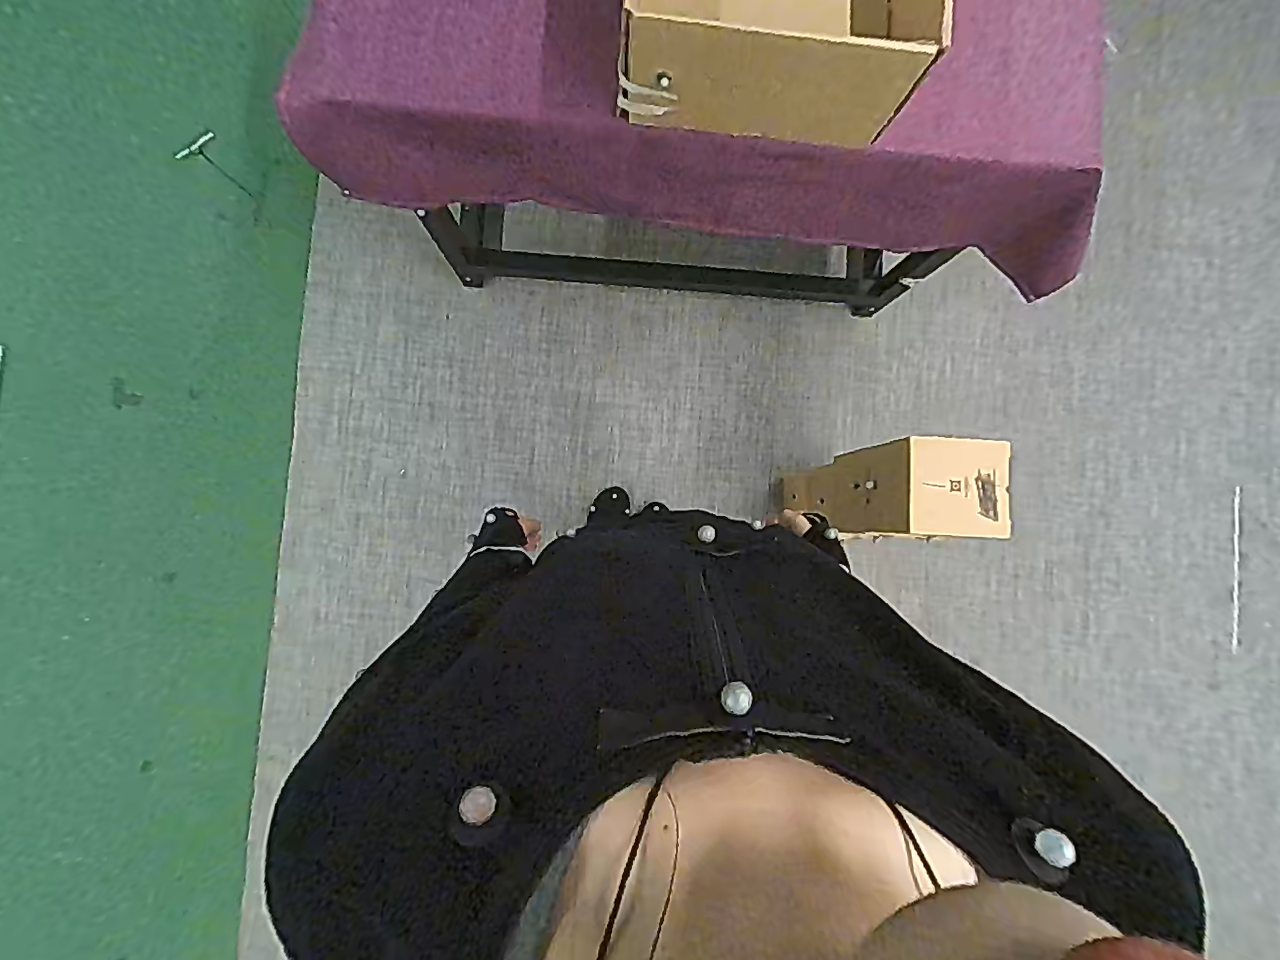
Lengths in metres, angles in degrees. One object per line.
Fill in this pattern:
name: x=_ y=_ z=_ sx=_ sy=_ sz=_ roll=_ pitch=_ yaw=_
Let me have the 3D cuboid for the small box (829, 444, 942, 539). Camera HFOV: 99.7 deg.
small box: x=0.512 y=0.029 z=1.140 sx=0.168 sy=0.176 sz=0.179 roll=5 pitch=86 yaw=-3

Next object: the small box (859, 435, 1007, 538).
small box: x=0.520 y=0.016 z=0.976 sx=0.179 sy=0.176 sz=0.168 roll=3 pitch=85 yaw=-2
